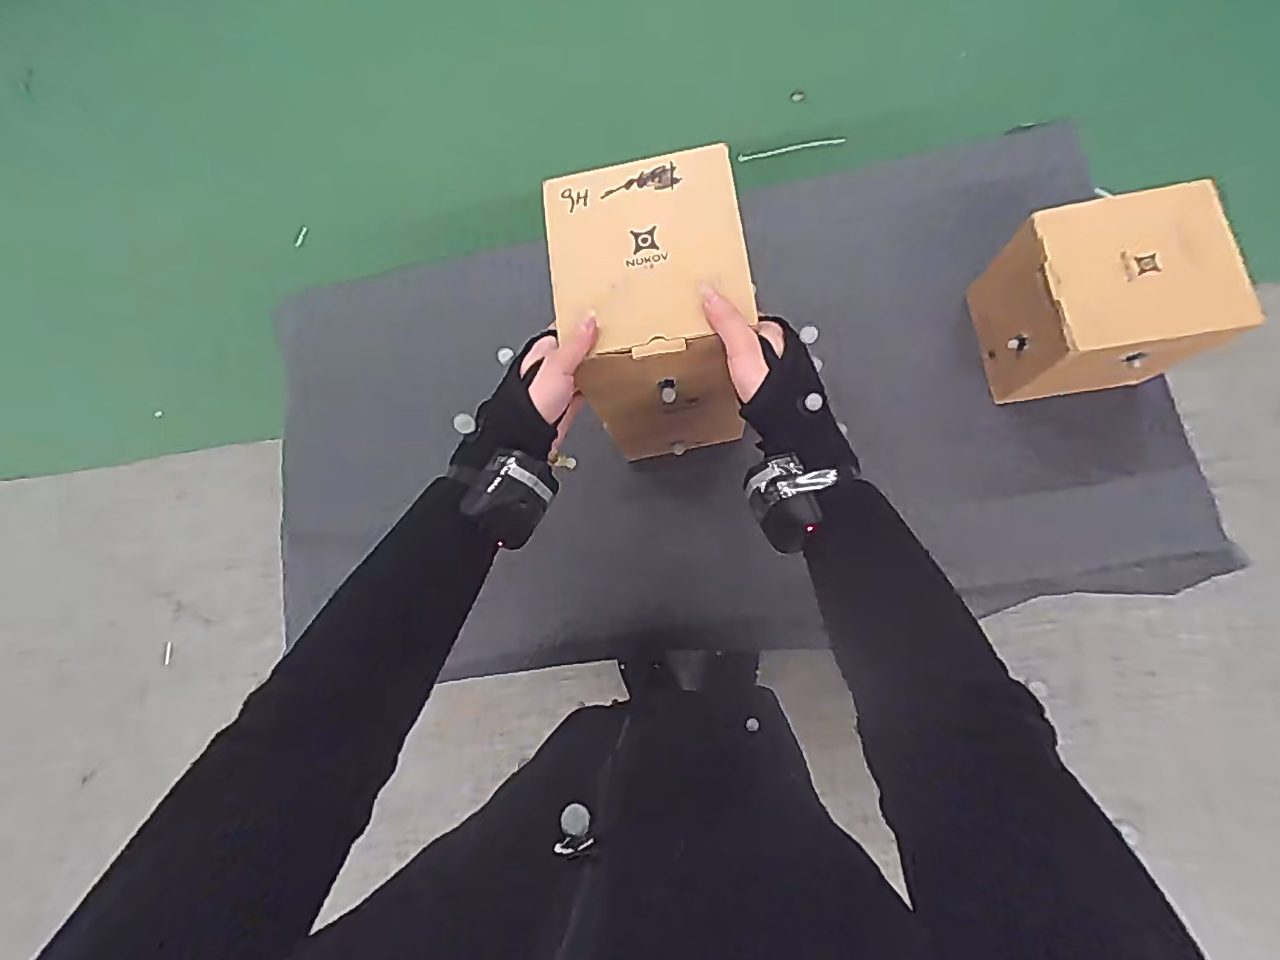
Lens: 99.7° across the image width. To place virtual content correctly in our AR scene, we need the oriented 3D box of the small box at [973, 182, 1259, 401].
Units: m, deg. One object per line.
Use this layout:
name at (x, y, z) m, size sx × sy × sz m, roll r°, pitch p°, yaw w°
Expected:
small box at (0.521, -0.203, 0.630) m, size 0.179 × 0.176 × 0.168 m, roll -9°, pitch 78°, yaw 6°

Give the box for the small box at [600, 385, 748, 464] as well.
small box at (0.035, -0.134, 0.689) m, size 0.168 × 0.176 × 0.179 m, roll -12°, pitch 78°, yaw 6°

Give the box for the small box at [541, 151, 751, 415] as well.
small box at (0.013, -0.172, 0.533) m, size 0.168 × 0.176 × 0.179 m, roll -9°, pitch 78°, yaw 6°
